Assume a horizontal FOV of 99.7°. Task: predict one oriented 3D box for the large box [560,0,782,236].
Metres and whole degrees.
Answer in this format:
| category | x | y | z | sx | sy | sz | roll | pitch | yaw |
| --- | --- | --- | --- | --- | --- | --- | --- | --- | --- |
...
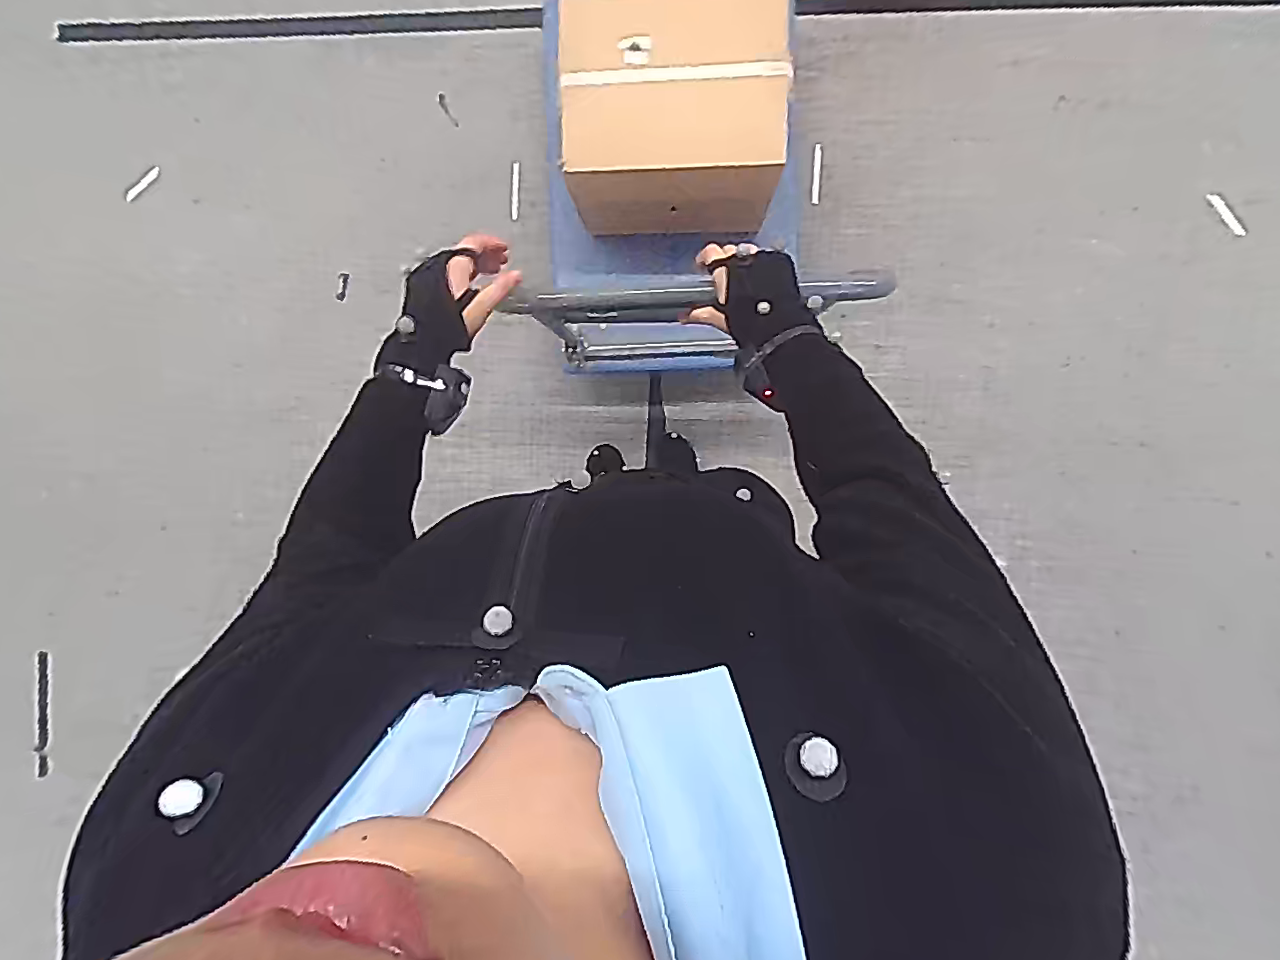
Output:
| category | x | y | z | sx | sy | sz | roll | pitch | yaw |
| --- | --- | --- | --- | --- | --- | --- | --- | --- | --- |
| large box | 0.067 | -0.726 | 1.124 | 0.408 | 0.320 | 0.320 | 0 | 93 | 4 |
